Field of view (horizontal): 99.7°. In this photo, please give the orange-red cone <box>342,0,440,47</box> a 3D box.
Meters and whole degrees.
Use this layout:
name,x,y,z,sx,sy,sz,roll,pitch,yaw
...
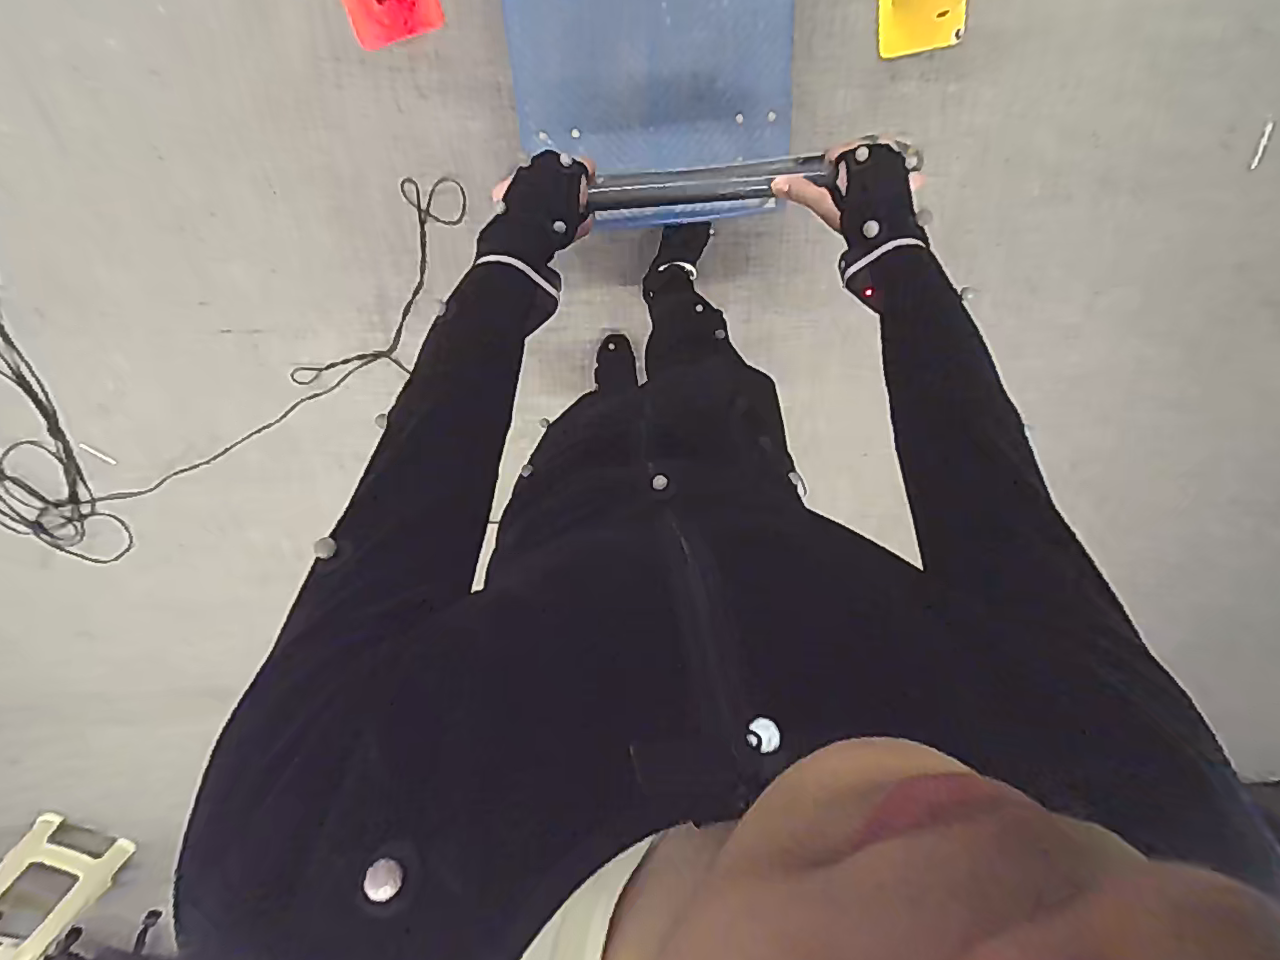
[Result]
name,x,y,z,sx,sy,sz,roll,pitch,yaw
orange-red cone,-0.538,-0.989,0.992,0.199,0.360,0.198,-14,113,4
